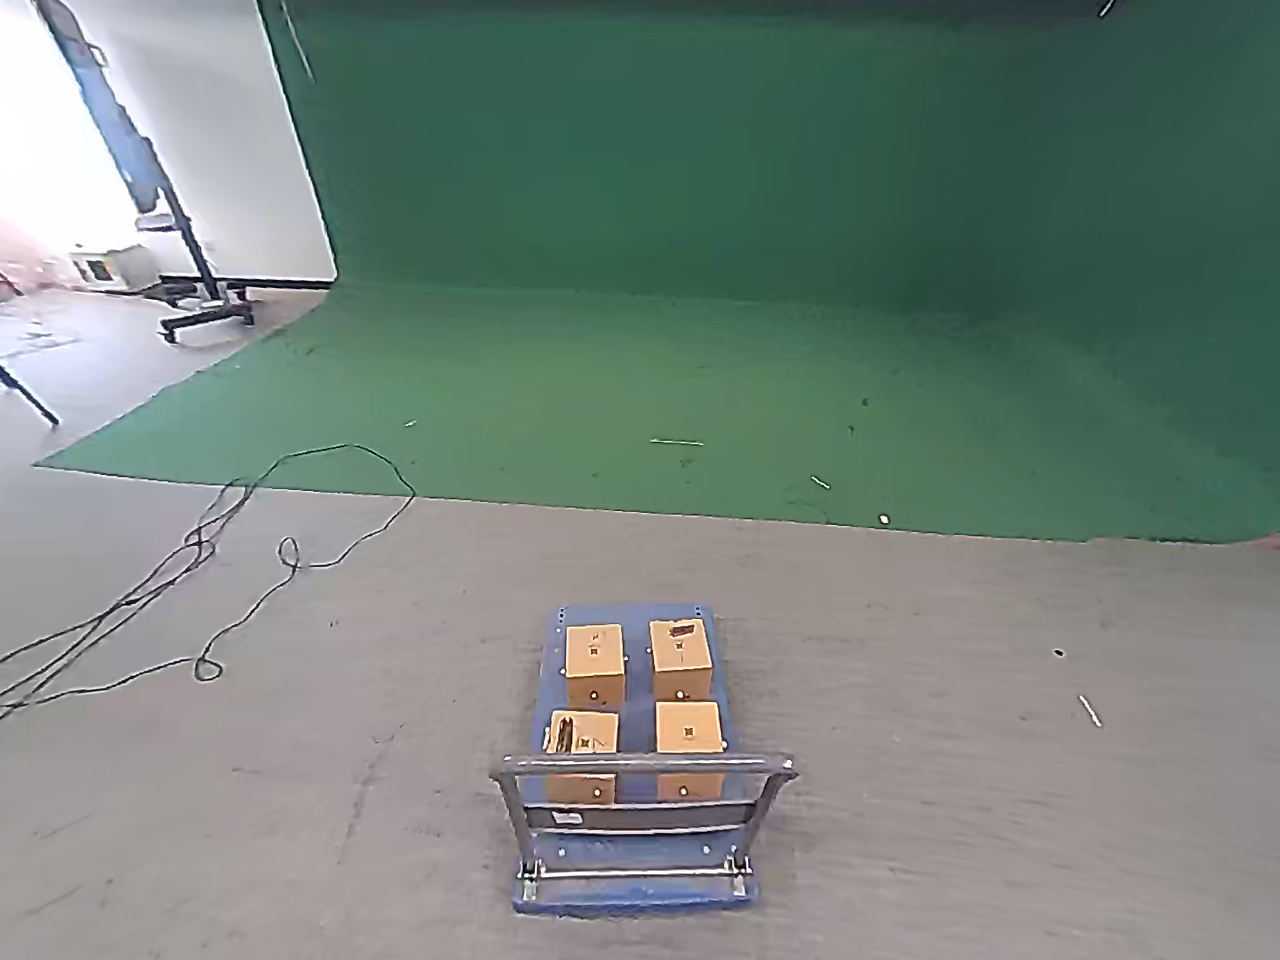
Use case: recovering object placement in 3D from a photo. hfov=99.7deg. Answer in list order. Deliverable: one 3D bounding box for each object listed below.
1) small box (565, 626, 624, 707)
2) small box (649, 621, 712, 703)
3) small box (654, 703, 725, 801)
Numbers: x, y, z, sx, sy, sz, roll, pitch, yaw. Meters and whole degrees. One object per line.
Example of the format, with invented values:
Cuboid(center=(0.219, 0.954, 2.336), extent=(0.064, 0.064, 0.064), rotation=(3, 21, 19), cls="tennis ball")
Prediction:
Cuboid(center=(-0.134, 0.561, 1.616), extent=(0.168, 0.176, 0.179), rotation=(-1, 37, -5), cls="small box")
Cuboid(center=(0.116, 0.551, 1.637), extent=(0.168, 0.176, 0.179), rotation=(-3, 38, -4), cls="small box")
Cuboid(center=(0.123, 0.714, 1.422), extent=(0.168, 0.176, 0.179), rotation=(1, 37, -1), cls="small box")
